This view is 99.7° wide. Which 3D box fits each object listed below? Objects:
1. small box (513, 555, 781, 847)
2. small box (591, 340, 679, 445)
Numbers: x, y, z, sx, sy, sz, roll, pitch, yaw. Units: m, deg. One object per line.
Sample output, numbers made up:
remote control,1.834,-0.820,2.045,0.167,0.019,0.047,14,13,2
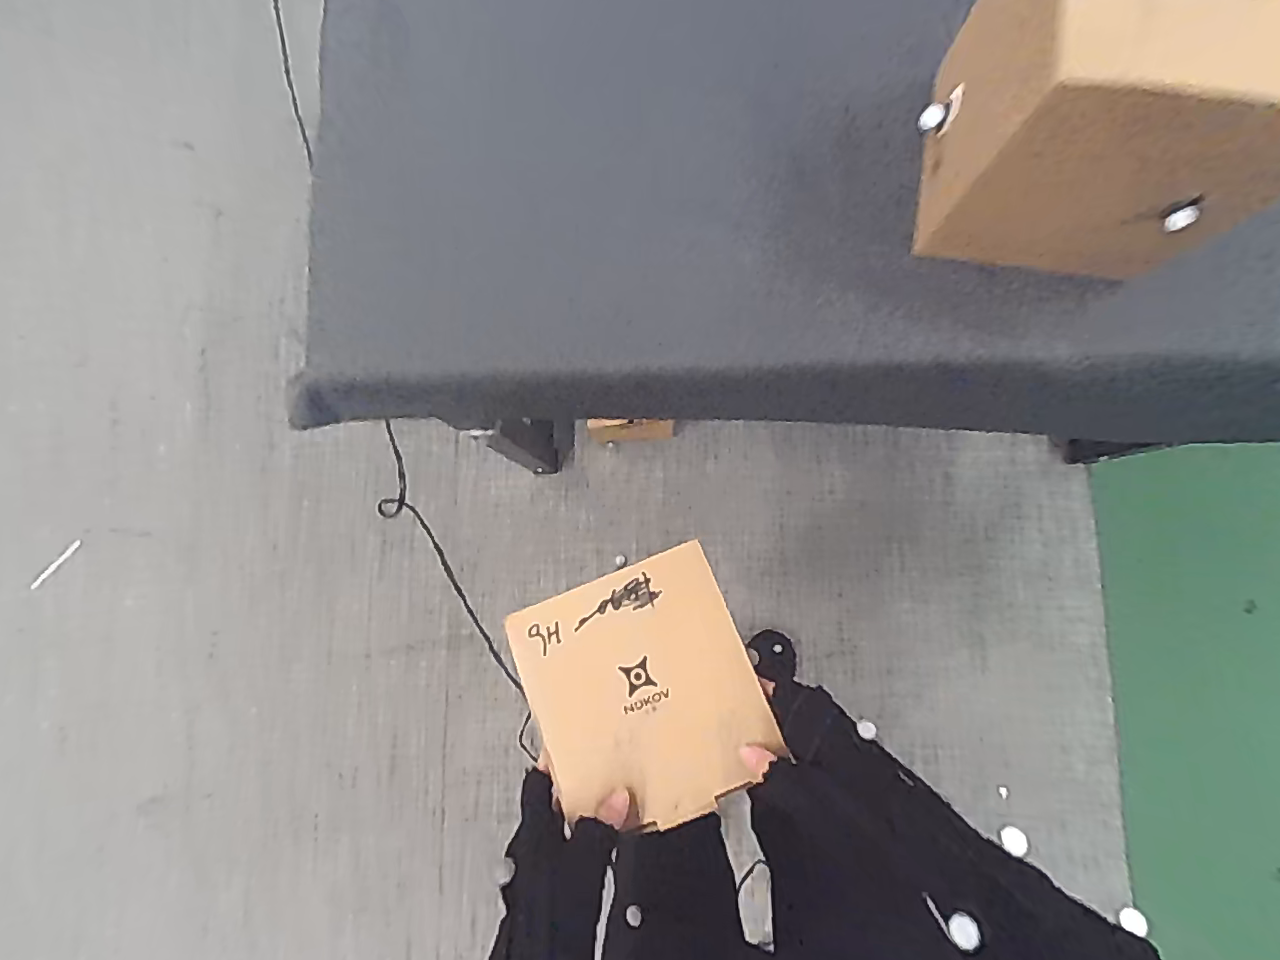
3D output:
small box,0.009,0.181,0.492,0.168,0.176,0.179,-21,76,0
small box,-0.006,-0.170,1.108,0.168,0.176,0.179,-4,82,1
